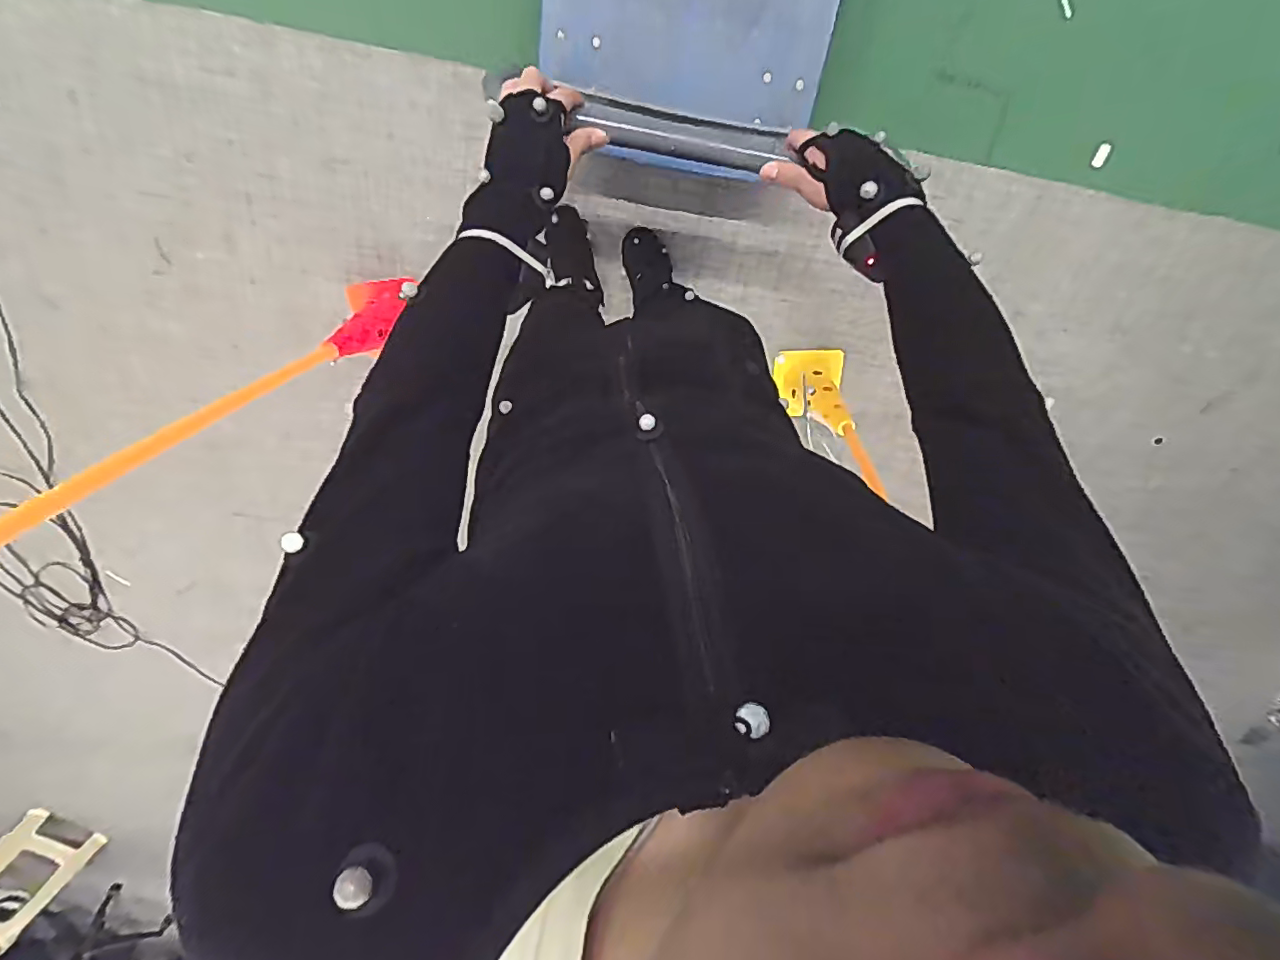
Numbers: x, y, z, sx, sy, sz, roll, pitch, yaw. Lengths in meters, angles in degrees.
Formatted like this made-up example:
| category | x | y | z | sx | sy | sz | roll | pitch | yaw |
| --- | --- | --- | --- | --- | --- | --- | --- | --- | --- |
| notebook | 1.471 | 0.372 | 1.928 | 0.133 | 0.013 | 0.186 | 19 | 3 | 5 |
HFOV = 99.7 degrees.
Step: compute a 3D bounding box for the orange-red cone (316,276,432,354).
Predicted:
| category | x | y | z | sx | sy | sz | roll | pitch | yaw |
| --- | --- | --- | --- | --- | --- | --- | --- | --- | --- |
| orange-red cone | -0.686 | -0.371 | 1.329 | 0.199 | 0.360 | 0.198 | -4 | 118 | 3 |
